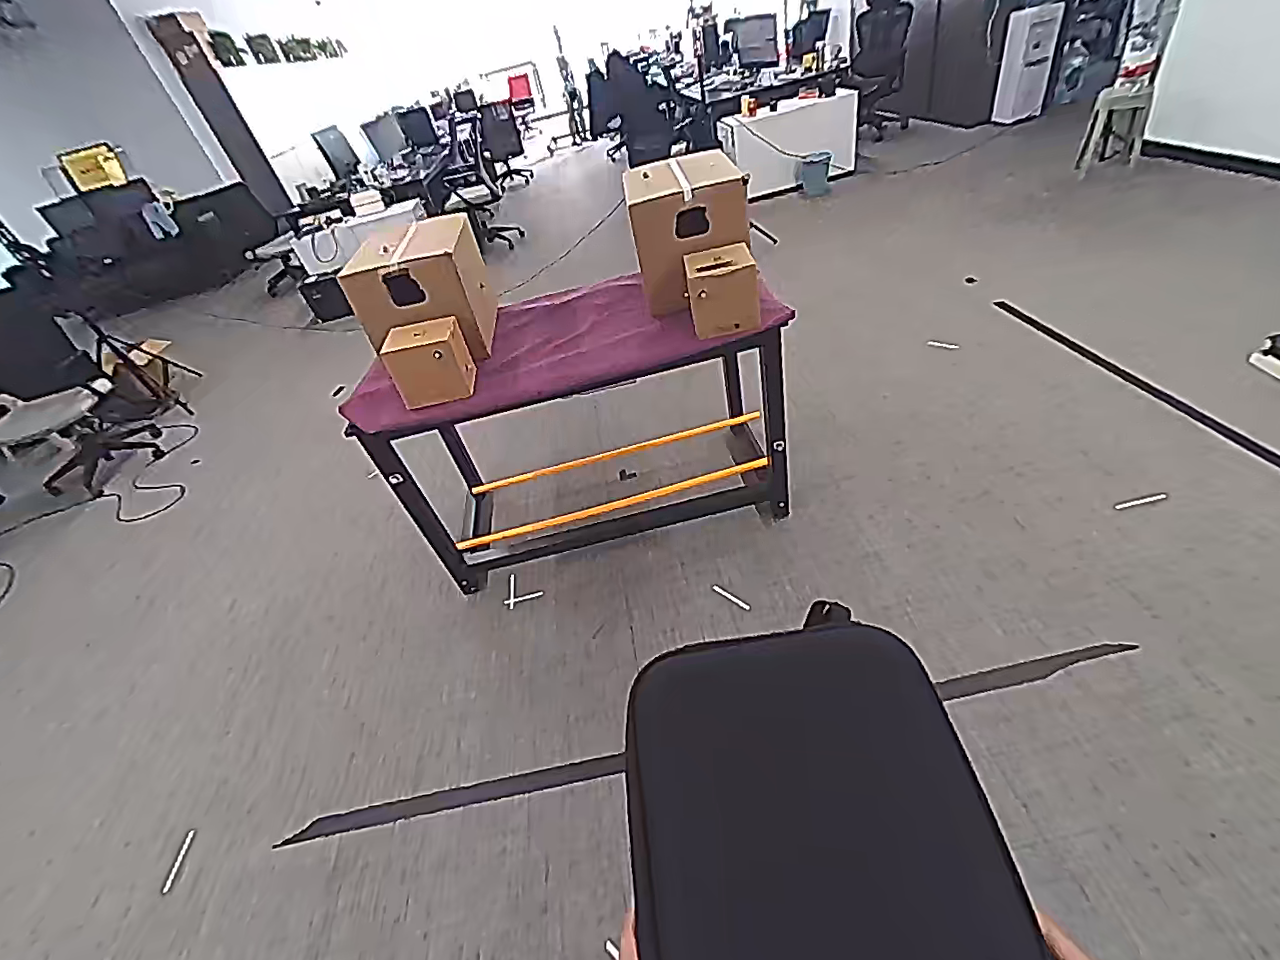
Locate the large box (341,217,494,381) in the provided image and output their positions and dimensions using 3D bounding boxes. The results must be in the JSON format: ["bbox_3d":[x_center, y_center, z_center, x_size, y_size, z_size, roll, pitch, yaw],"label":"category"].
[{"bbox_3d":[-0.648,-0.562,1.661,0.320,0.320,0.408,-14,42,0],"label":"large box"}]
